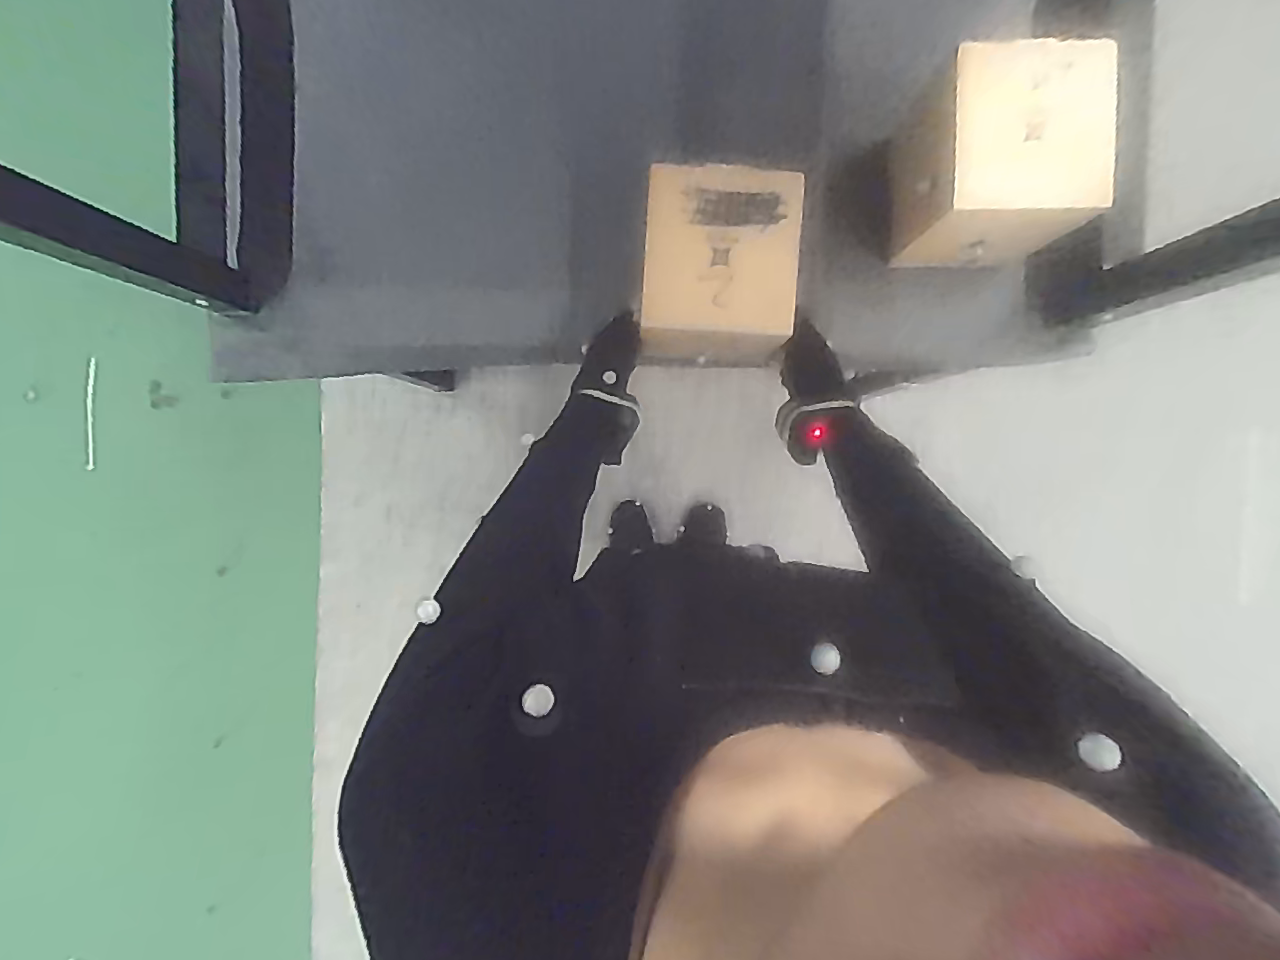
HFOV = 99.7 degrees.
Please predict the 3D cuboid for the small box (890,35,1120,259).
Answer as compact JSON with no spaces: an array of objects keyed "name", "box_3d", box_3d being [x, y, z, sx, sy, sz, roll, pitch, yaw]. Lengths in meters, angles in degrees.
[{"name":"small box","box_3d":[0.416,-0.376,0.644,0.168,0.176,0.179,0,91,2]}]
